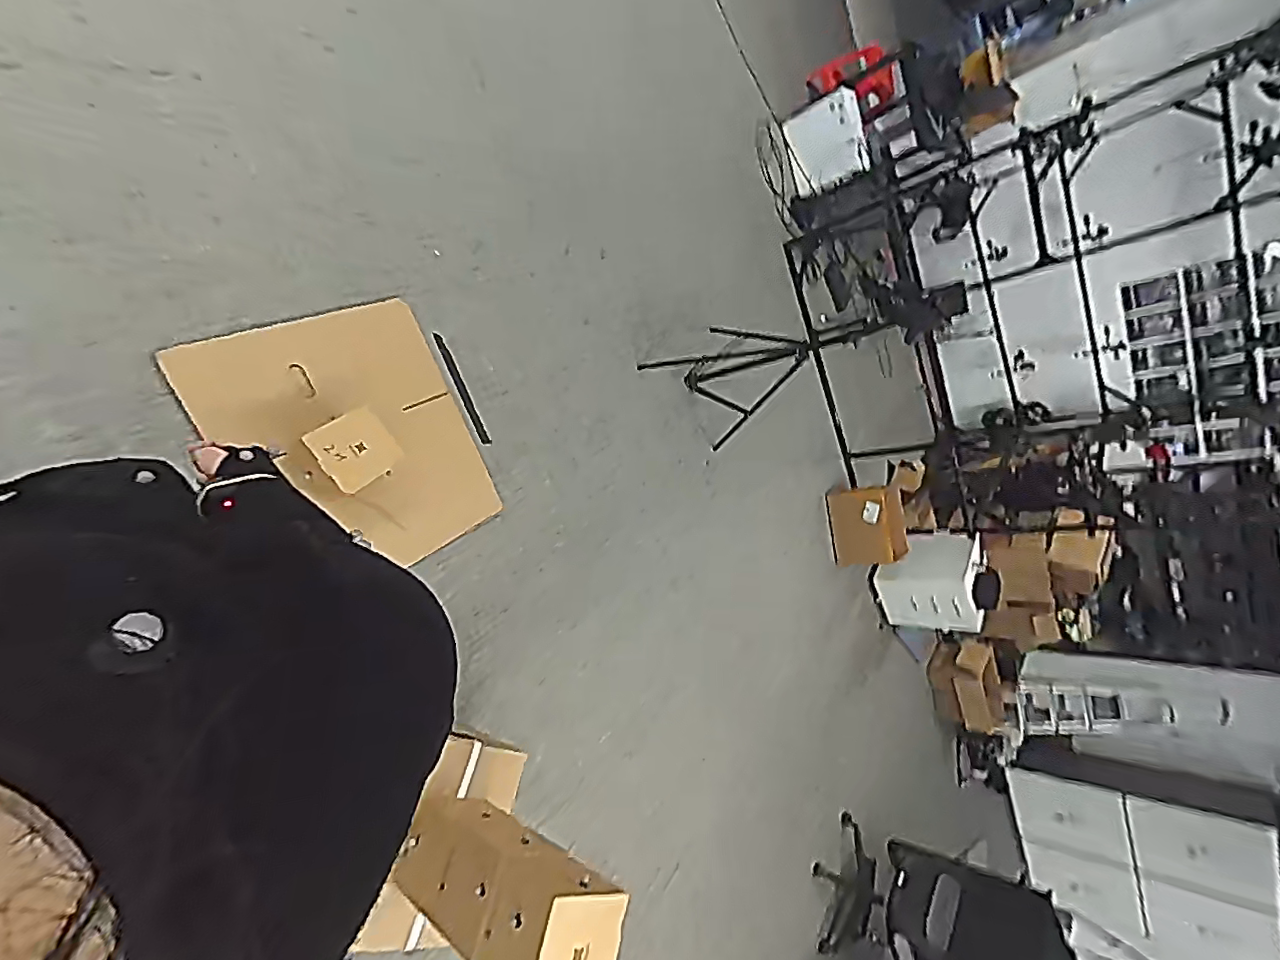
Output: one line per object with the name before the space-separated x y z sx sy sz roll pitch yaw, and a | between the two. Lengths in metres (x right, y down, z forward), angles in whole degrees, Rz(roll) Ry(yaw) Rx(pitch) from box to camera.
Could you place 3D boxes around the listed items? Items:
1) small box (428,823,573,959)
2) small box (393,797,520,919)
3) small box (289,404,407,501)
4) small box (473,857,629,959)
small box | -0.264 0.774 1.028 0.179 0.176 0.168 34 62 -38
small box | -0.382 0.788 1.141 0.179 0.176 0.168 33 62 -37
small box | -0.723 -0.064 1.337 0.179 0.176 0.168 -44 113 -39
small box | -0.151 0.762 0.911 0.179 0.176 0.168 33 62 -38
